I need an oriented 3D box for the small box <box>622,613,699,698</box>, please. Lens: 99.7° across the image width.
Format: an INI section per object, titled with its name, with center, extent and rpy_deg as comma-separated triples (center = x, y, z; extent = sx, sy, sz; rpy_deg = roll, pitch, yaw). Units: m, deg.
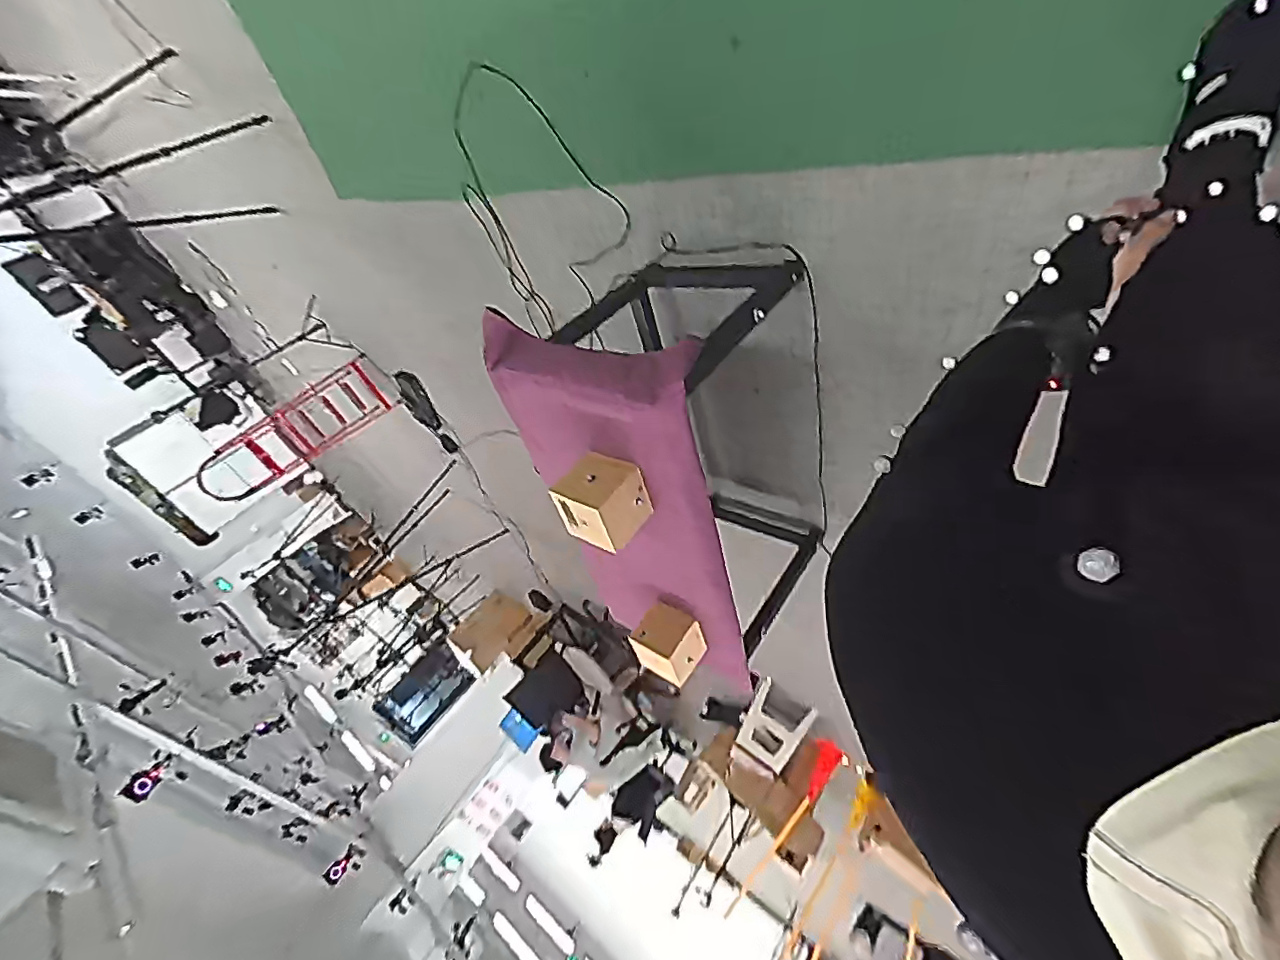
[small box]
center = 0.075, 0.566, 1.764
extent = 0.179, 0.176, 0.168
rpy_deg = 17, 140, 38
